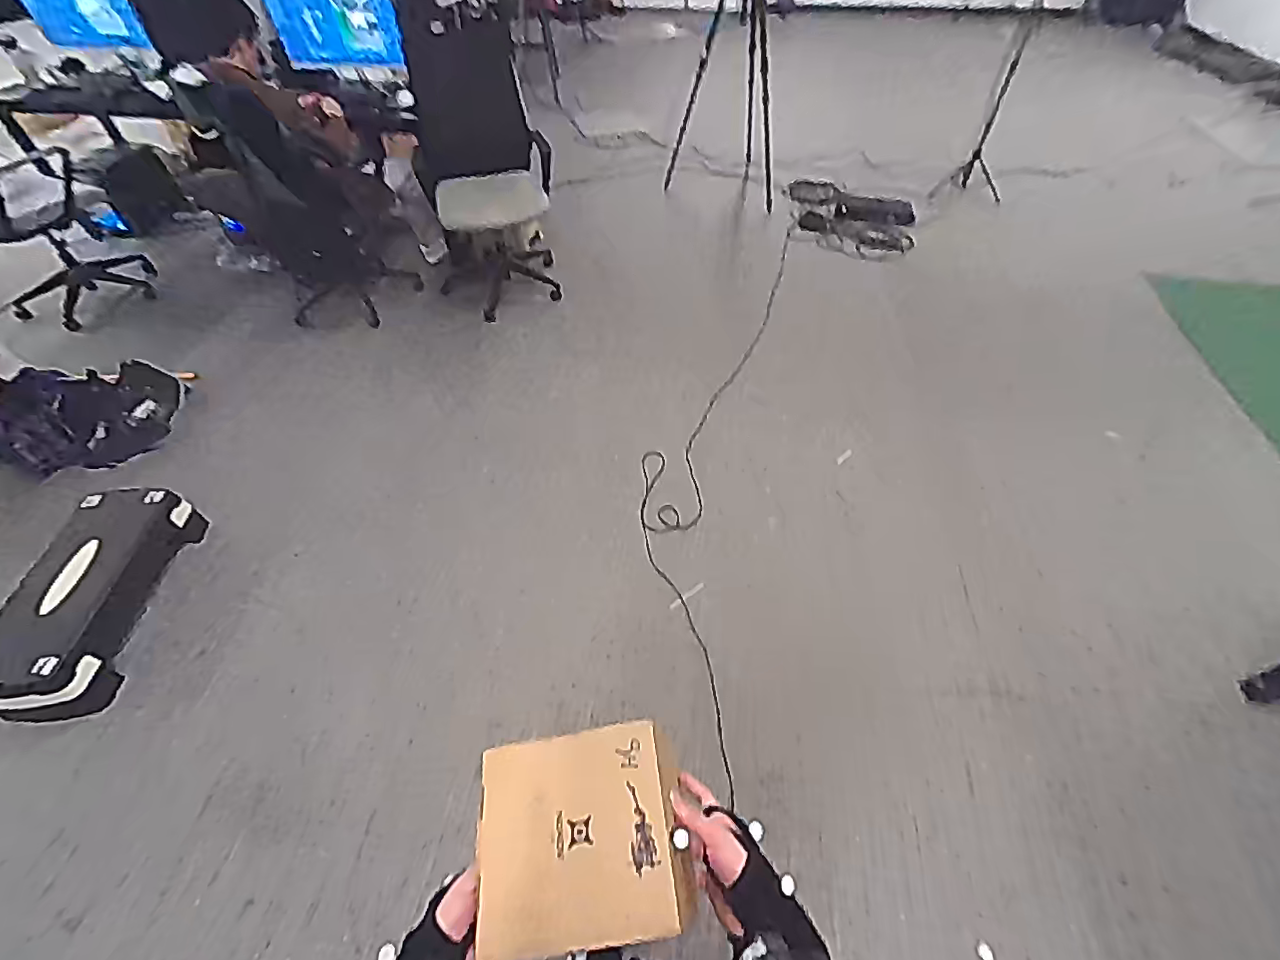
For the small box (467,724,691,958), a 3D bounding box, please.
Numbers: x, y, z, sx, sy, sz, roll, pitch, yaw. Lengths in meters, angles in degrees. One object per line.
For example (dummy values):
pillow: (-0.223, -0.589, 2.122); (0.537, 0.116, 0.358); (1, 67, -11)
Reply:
small box: (-0.053, 0.363, 0.553); (0.179, 0.176, 0.168); (-11, 55, 5)
